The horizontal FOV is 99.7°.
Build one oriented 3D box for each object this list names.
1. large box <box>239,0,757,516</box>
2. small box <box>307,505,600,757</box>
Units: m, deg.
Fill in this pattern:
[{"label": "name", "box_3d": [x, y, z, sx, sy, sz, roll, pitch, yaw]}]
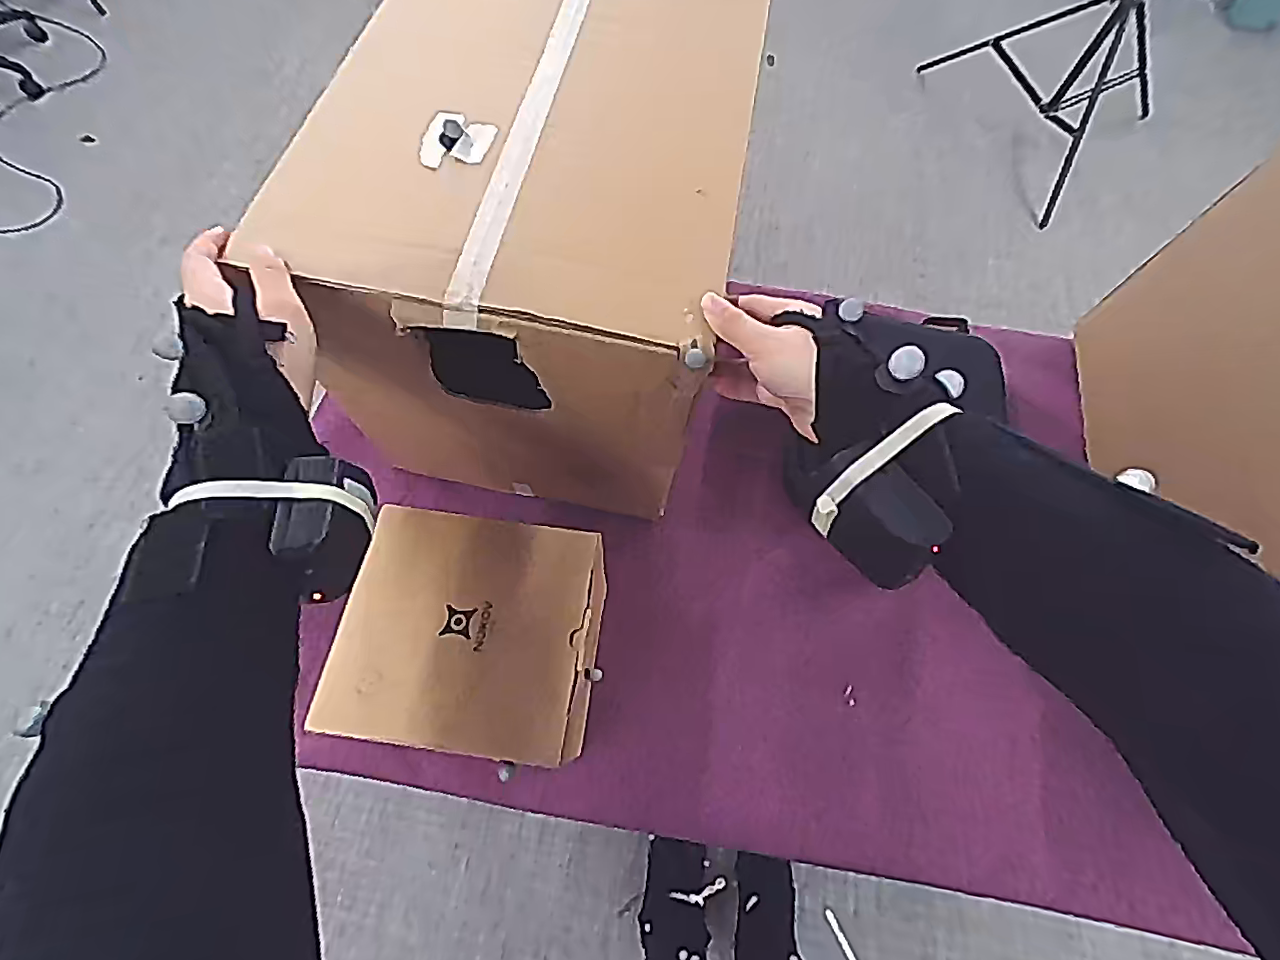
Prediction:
[{"label": "large box", "box_3d": [-0.085, -0.218, 0.551, 0.320, 0.320, 0.408, 10, 68, 1]}, {"label": "small box", "box_3d": [-0.133, 0.137, 0.466, 0.179, 0.176, 0.168, 7, 65, 0]}]
